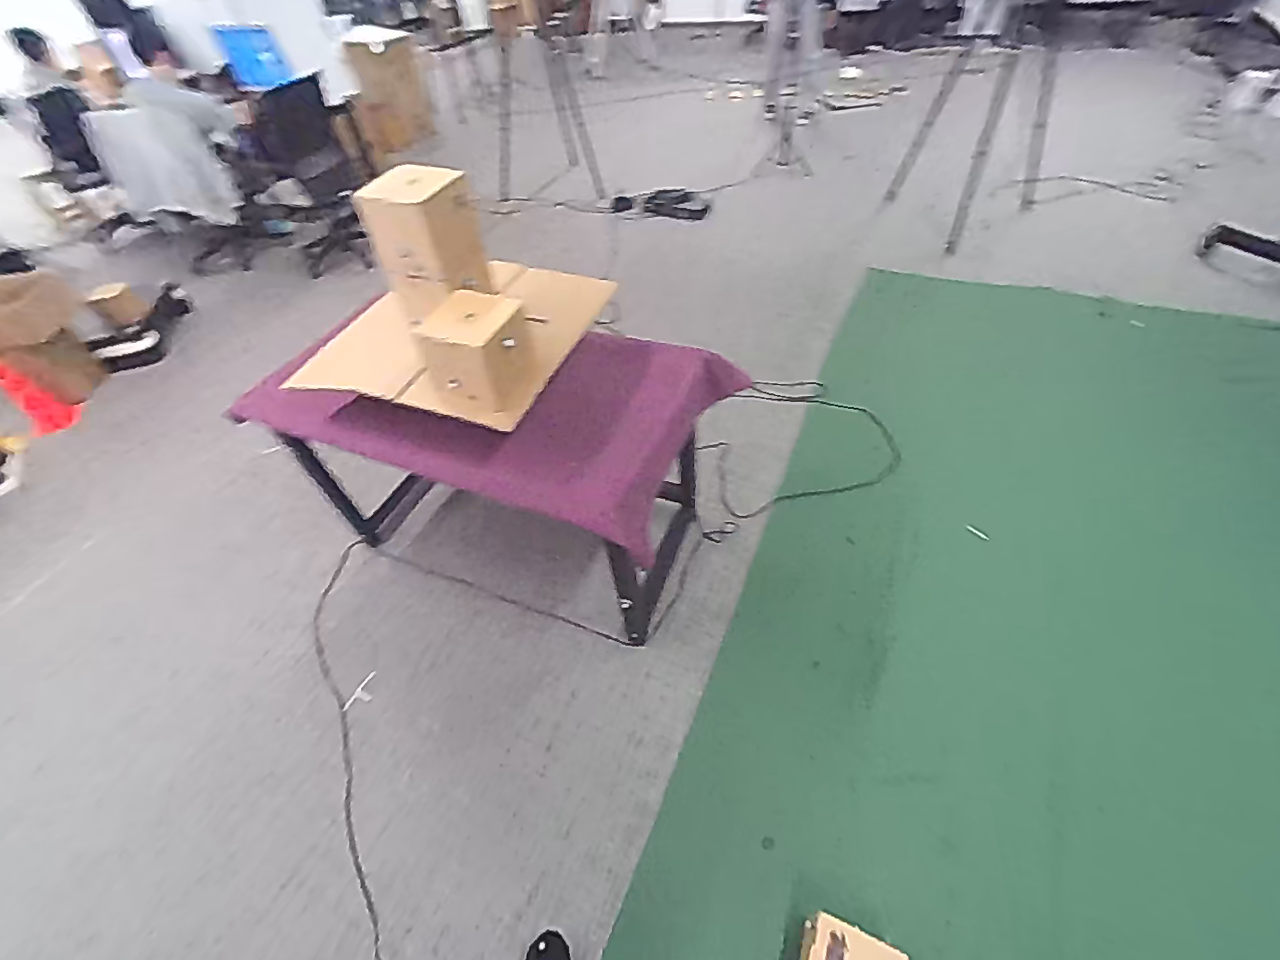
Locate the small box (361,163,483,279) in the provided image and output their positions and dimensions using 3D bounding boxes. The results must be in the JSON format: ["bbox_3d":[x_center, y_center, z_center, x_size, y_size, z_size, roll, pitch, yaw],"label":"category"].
[{"bbox_3d":[-0.471,-0.578,1.209,0.168,0.176,0.179,15,53,15],"label":"small box"}]

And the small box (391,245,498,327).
[{"bbox_3d":[-0.466,-0.470,1.333,0.168,0.176,0.179,16,52,15],"label":"small box"}]

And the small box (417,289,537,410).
[{"bbox_3d":[-0.339,-0.282,1.169,0.168,0.176,0.179,15,53,16],"label":"small box"}]
